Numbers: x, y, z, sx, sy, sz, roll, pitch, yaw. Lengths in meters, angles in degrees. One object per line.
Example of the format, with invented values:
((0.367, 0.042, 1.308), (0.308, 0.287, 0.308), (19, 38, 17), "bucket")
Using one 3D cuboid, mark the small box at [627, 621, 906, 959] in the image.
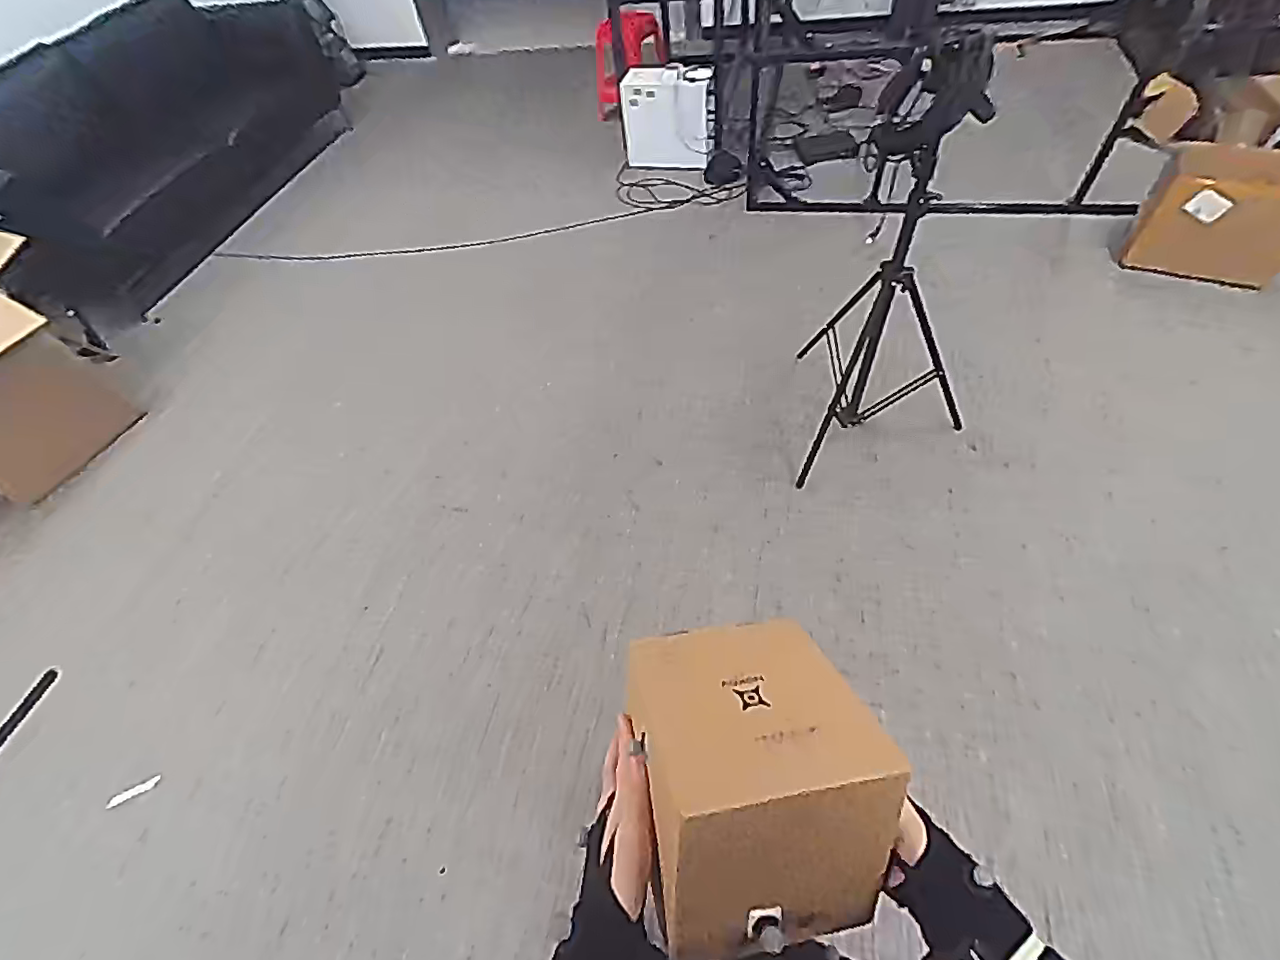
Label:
((0.083, 0.247, 0.456), (0.168, 0.176, 0.179), (-5, 23, -12), "small box")
